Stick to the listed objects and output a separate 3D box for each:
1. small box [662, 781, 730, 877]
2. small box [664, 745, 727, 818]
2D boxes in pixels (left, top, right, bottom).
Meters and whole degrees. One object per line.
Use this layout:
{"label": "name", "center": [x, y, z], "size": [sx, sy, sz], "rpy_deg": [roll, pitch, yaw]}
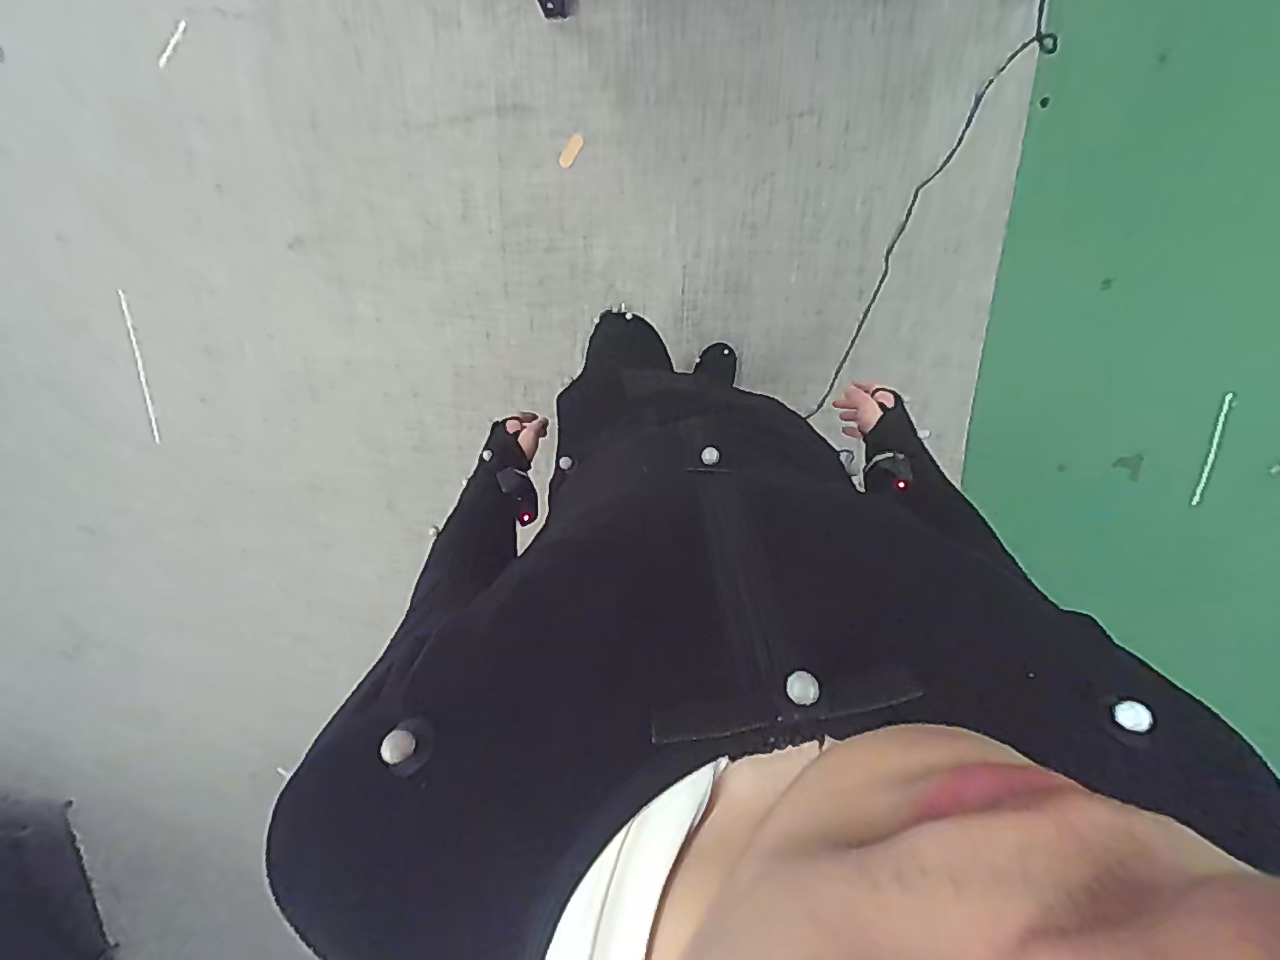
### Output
{"label": "small box", "center": [0.168, 1.057, 1.649], "size": [0.179, 0.176, 0.168], "rpy_deg": [10, 106, 2]}
{"label": "small box", "center": [0.183, 1.021, 1.810], "size": [0.179, 0.176, 0.168], "rpy_deg": [10, 106, 2]}
